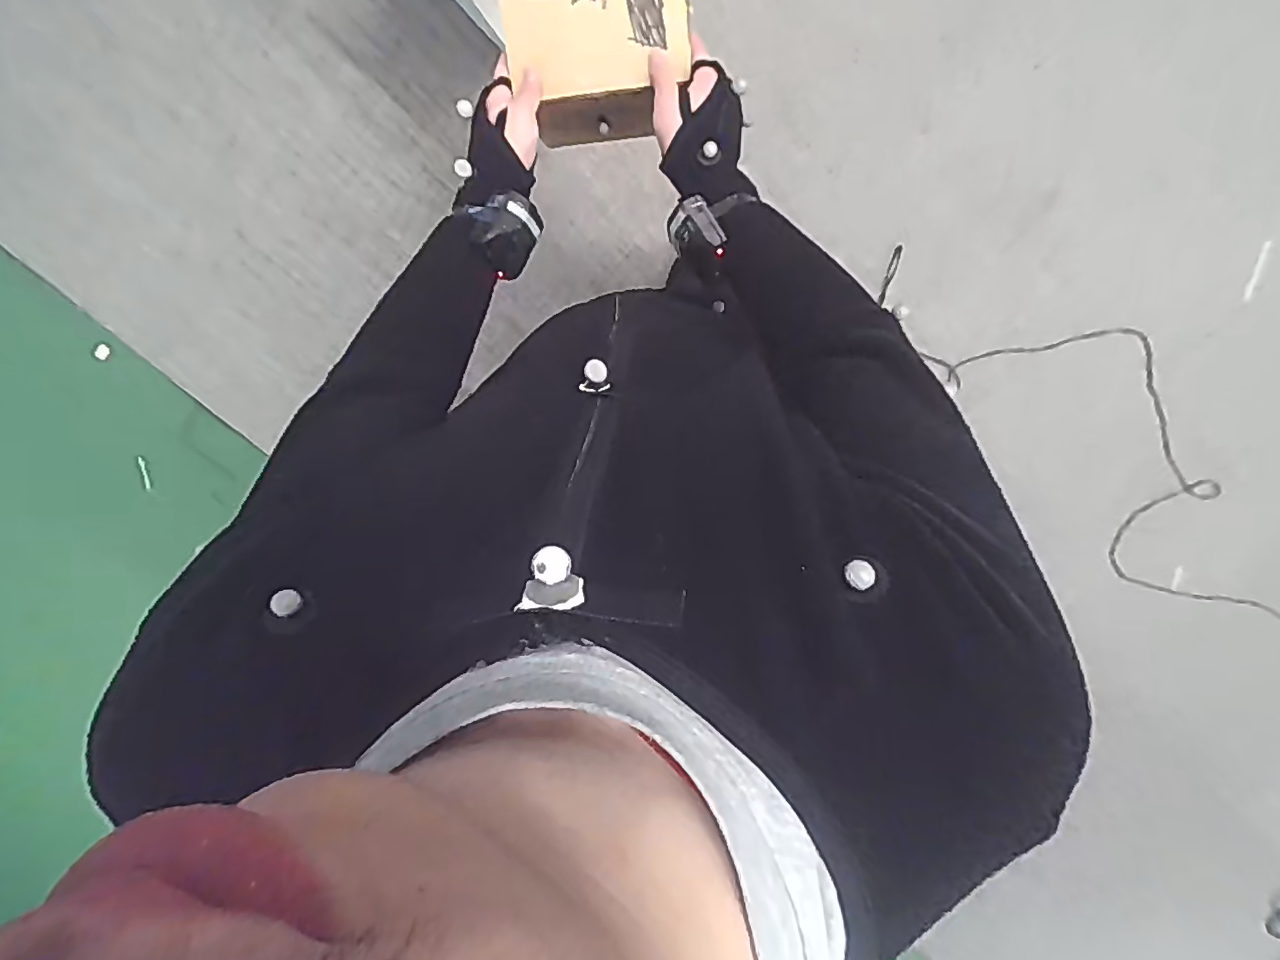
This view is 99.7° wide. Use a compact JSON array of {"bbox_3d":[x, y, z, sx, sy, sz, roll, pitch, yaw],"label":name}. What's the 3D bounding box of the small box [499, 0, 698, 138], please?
[{"bbox_3d":[-0.039,-0.469,0.549,0.179,0.176,0.168,-5,108,3],"label":"small box"}]
